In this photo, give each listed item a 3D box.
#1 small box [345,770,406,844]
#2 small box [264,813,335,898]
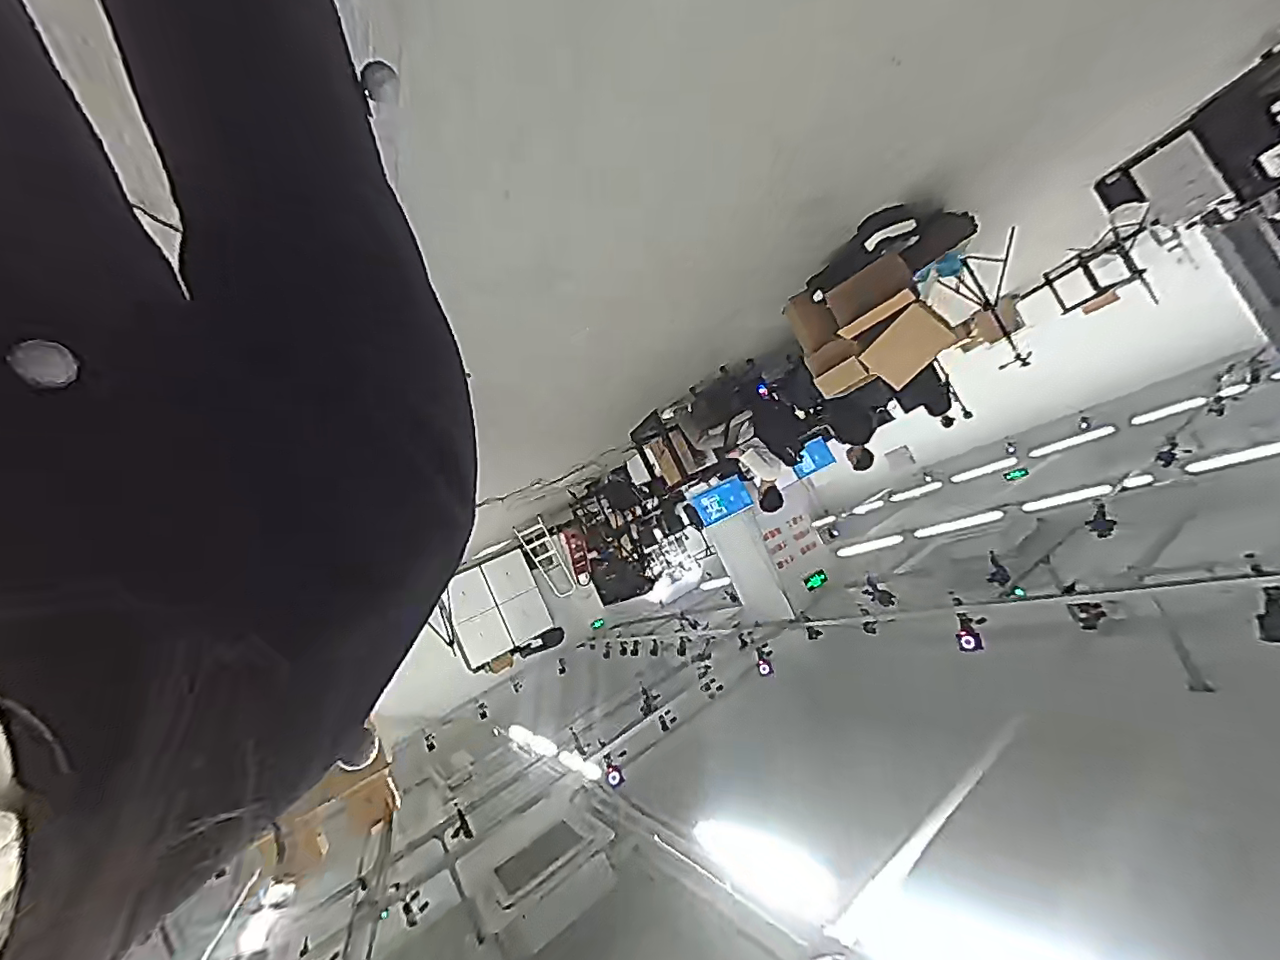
[{"bbox_3d":[-1.021,1.255,2.087,0.168,0.176,0.179,-25,171,-29],"label":"small box"},{"bbox_3d":[-1.230,1.349,1.956,0.168,0.176,0.179,-22,172,-29],"label":"small box"}]
